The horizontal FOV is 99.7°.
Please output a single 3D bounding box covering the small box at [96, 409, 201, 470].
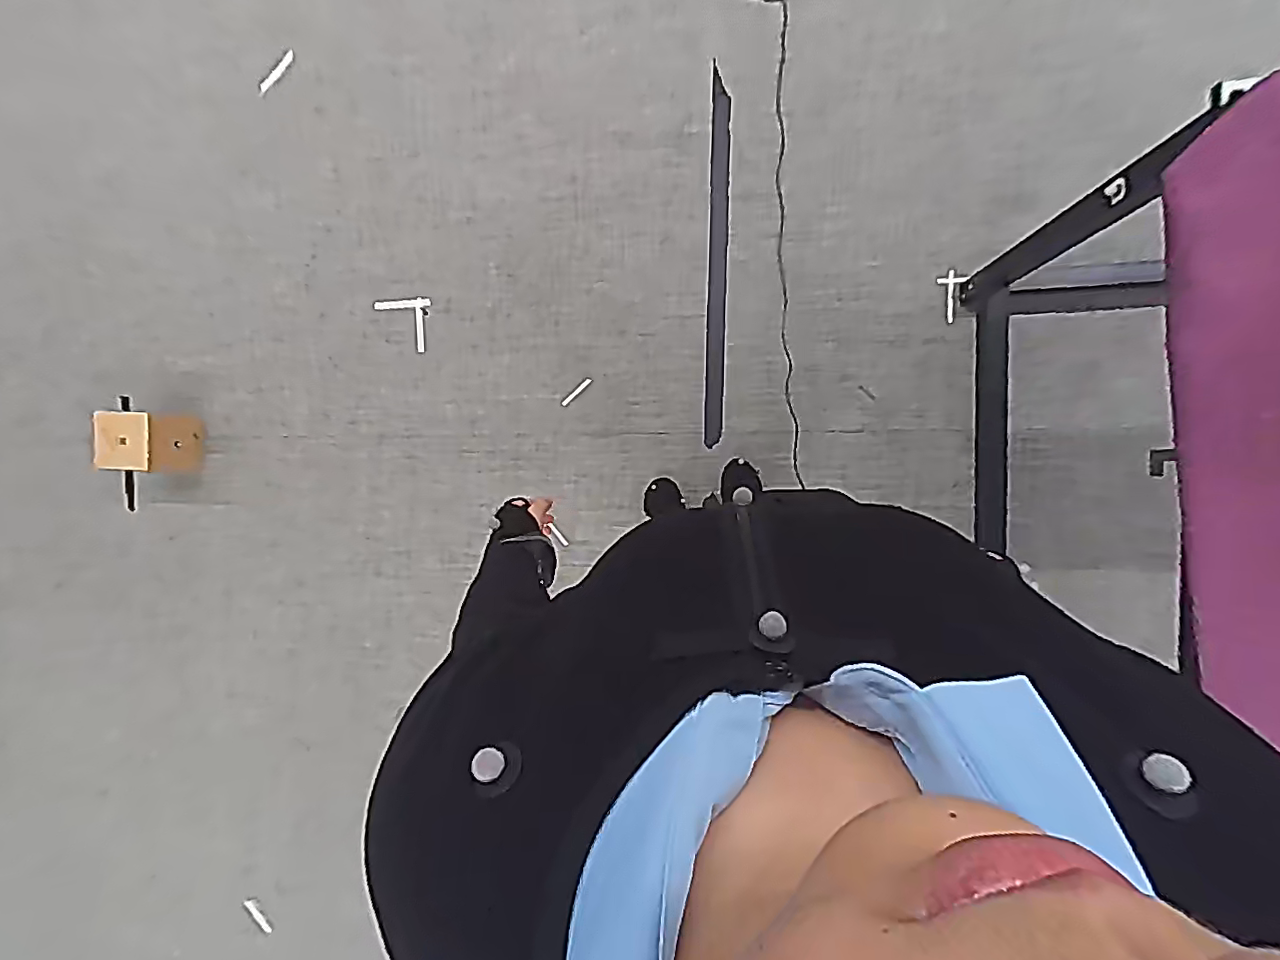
[{"bbox_3d":[-1.454,-0.119,1.609,0.179,0.176,0.168,3,92,7],"label":"small box"}]
